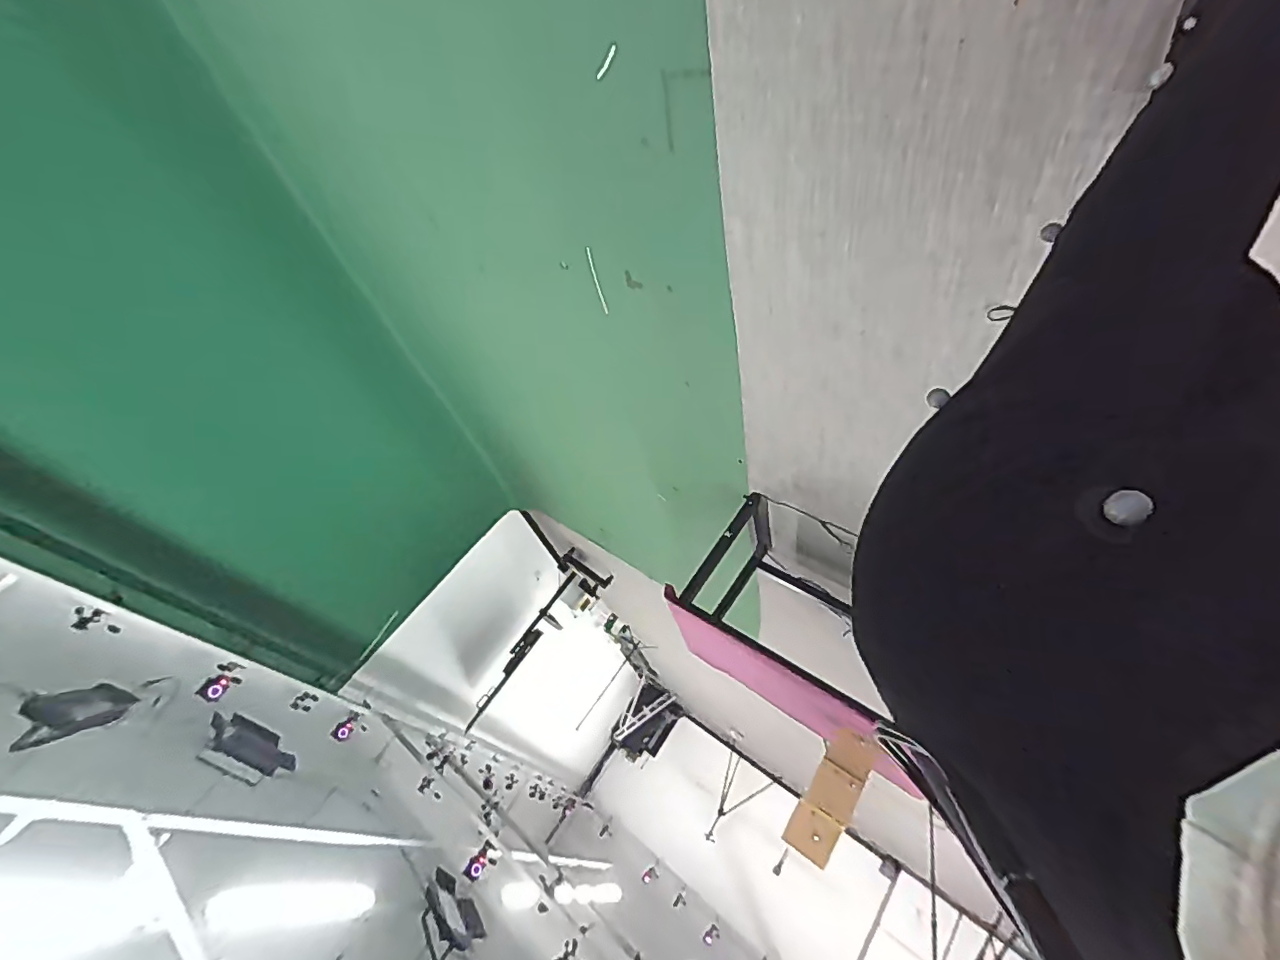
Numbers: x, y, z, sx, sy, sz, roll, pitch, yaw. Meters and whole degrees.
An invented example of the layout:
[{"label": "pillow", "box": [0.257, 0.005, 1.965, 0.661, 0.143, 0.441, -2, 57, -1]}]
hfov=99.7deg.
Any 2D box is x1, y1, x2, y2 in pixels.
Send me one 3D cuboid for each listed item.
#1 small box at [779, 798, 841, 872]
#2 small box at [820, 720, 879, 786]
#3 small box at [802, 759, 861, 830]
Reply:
[{"label": "small box", "box": [0.631, 1.310, 2.004, 0.168, 0.176, 0.179, 23, 154, 32]}, {"label": "small box", "box": [0.825, 1.084, 2.133, 0.168, 0.176, 0.179, 25, 153, 30]}, {"label": "small box", "box": [0.729, 1.196, 2.063, 0.168, 0.176, 0.179, 25, 155, 30]}]
